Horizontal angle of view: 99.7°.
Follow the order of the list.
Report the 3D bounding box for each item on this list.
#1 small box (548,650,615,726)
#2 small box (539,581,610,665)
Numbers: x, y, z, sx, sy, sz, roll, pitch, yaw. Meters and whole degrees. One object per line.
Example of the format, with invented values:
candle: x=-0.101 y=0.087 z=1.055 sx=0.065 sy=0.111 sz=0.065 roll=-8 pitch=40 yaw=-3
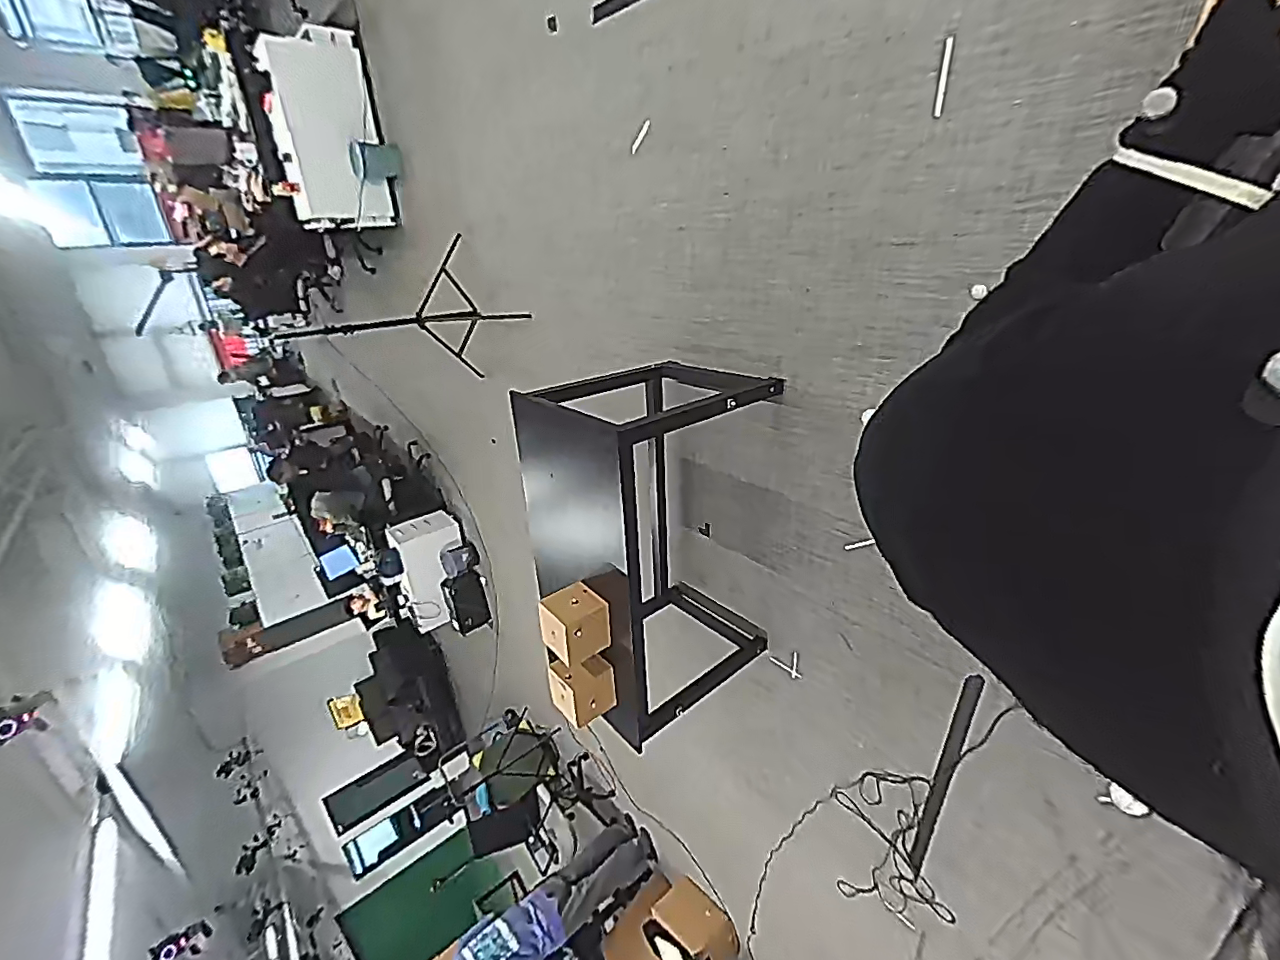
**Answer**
small box: x=-0.201 y=0.711 z=1.899 sx=0.168 sy=0.176 sz=0.179 roll=23 pitch=125 yaw=47
small box: x=-0.213 y=0.464 z=1.784 sx=0.168 sy=0.176 sz=0.179 roll=27 pitch=128 yaw=45
